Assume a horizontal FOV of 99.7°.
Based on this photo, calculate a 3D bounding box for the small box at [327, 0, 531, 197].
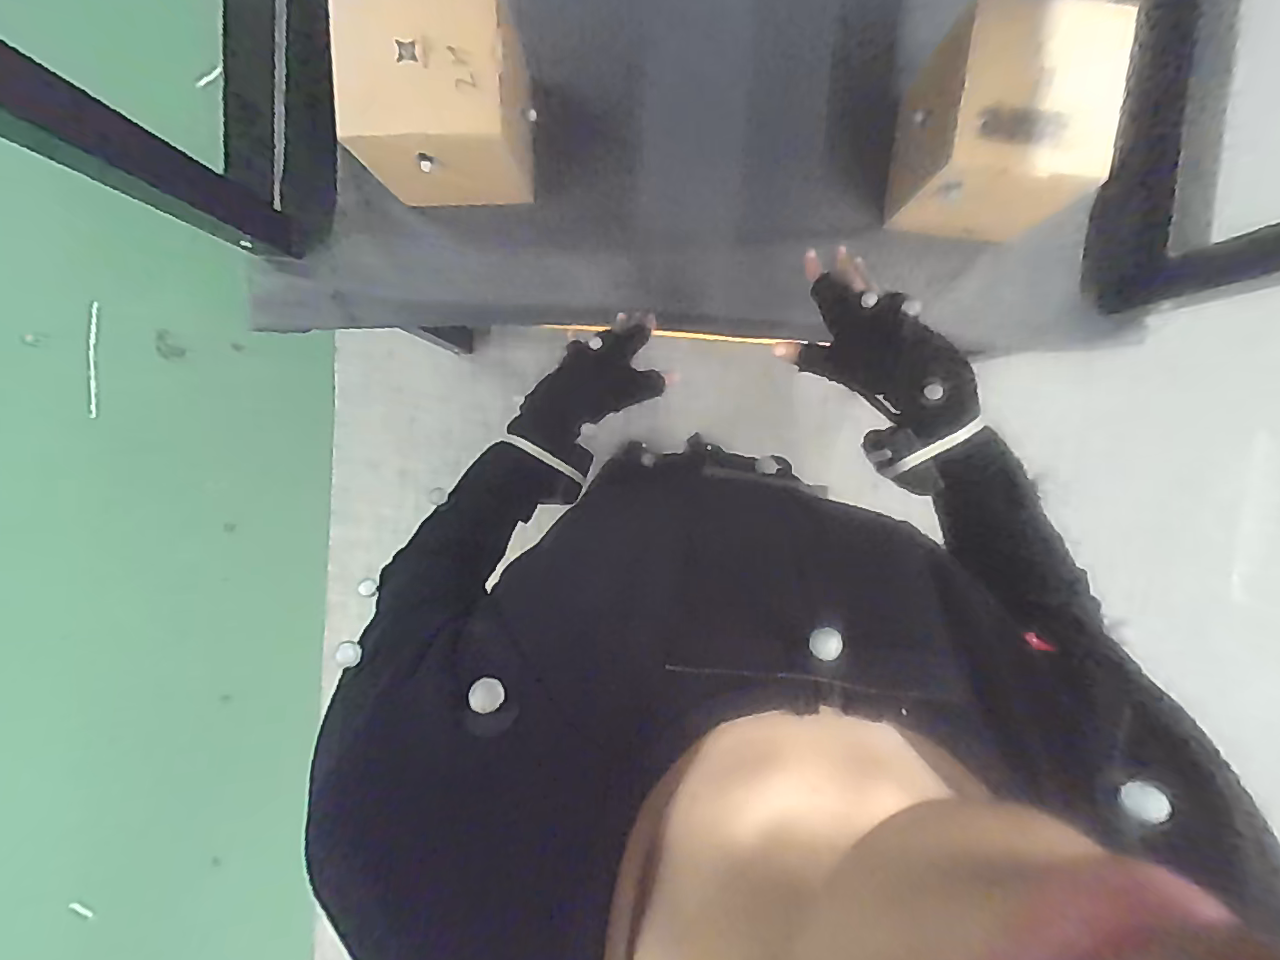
[{"bbox_3d":[-0.233,-0.451,0.635,0.179,0.176,0.168,0,95,0],"label":"small box"}]
